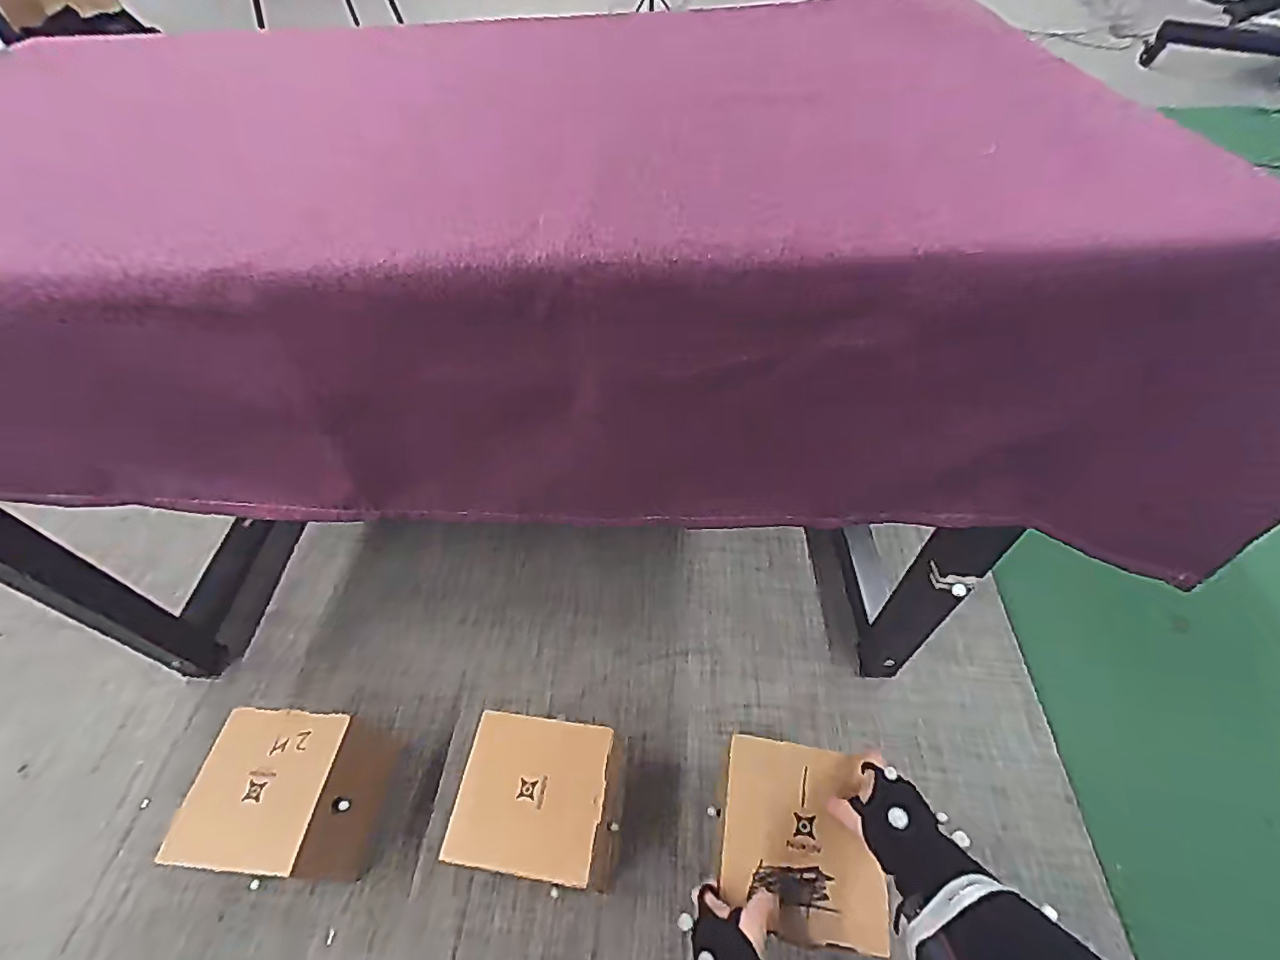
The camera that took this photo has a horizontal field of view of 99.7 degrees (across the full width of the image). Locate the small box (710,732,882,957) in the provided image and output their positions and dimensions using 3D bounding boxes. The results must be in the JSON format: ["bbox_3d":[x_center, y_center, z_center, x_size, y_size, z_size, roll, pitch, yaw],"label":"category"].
[{"bbox_3d":[0.174,0.417,0.638,0.168,0.176,0.179,6,57,9],"label":"small box"}]
